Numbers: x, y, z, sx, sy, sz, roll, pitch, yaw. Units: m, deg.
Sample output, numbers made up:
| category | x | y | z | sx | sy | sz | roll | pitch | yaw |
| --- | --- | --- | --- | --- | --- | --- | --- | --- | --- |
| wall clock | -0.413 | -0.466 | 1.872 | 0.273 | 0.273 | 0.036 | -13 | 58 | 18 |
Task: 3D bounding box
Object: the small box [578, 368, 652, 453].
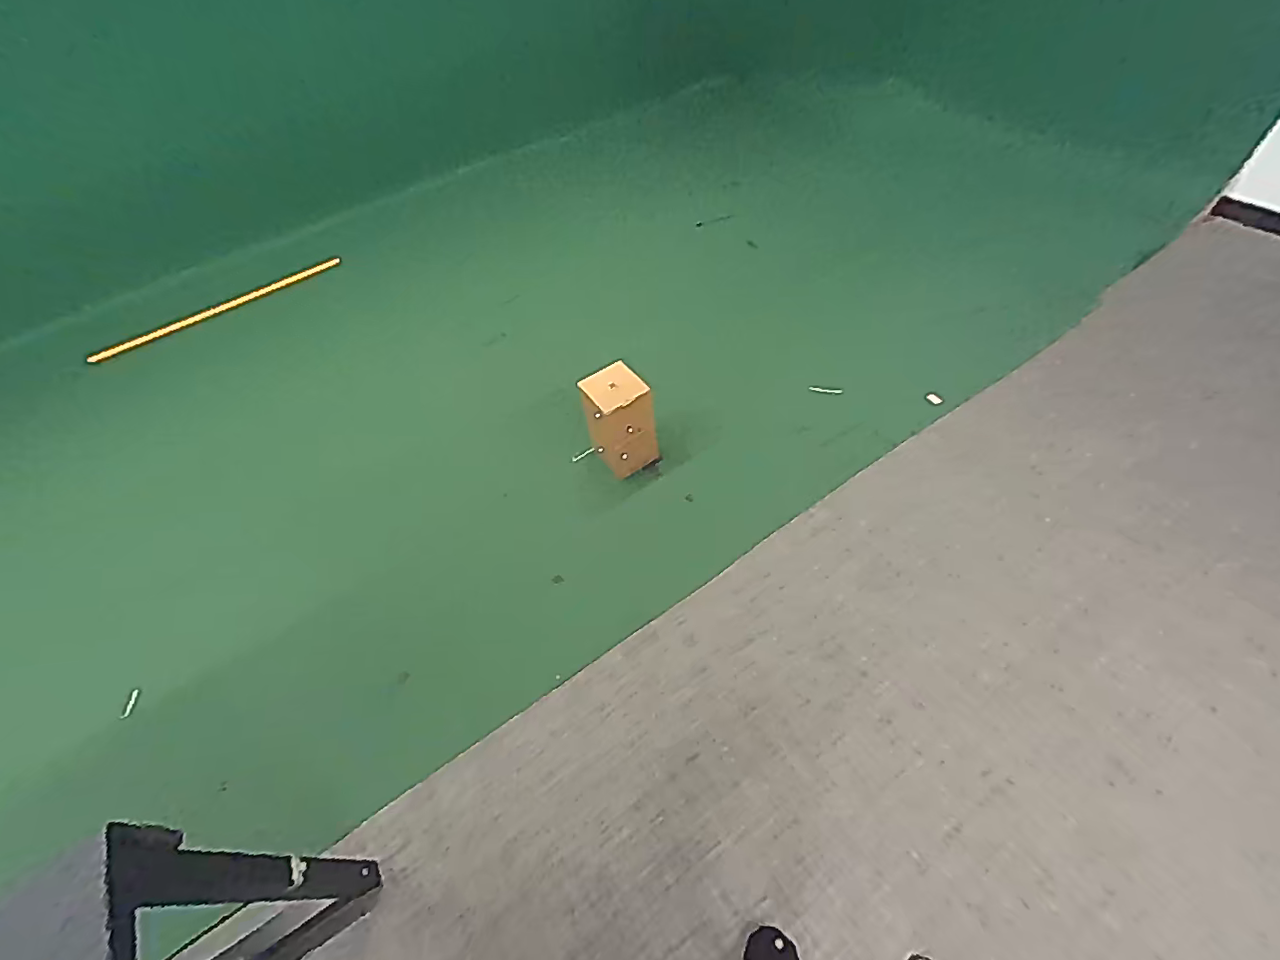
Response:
| category | x | y | z | sx | sy | sz | roll | pitch | yaw |
| --- | --- | --- | --- | --- | --- | --- | --- | --- | --- |
| small box | -0.076 | -0.219 | 1.723 | 0.168 | 0.176 | 0.179 | -30 | 55 | -17 |
